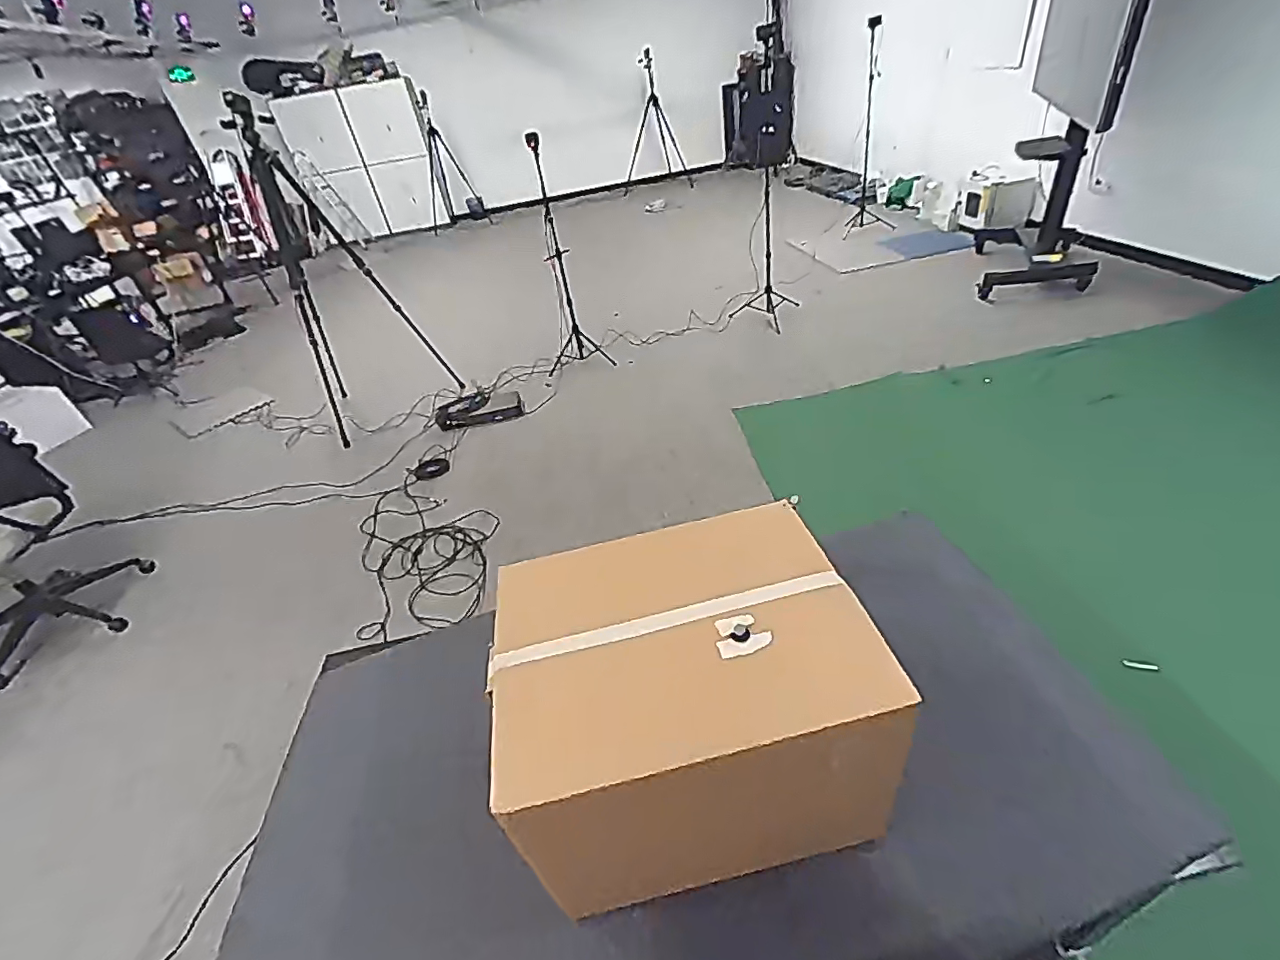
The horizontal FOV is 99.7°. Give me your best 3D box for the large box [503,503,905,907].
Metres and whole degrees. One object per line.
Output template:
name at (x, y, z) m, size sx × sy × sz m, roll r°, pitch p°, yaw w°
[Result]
large box at (0.058, 0.281, 0.711) m, size 0.408 × 0.320 × 0.320 m, roll -13°, pitch 37°, yaw -4°
